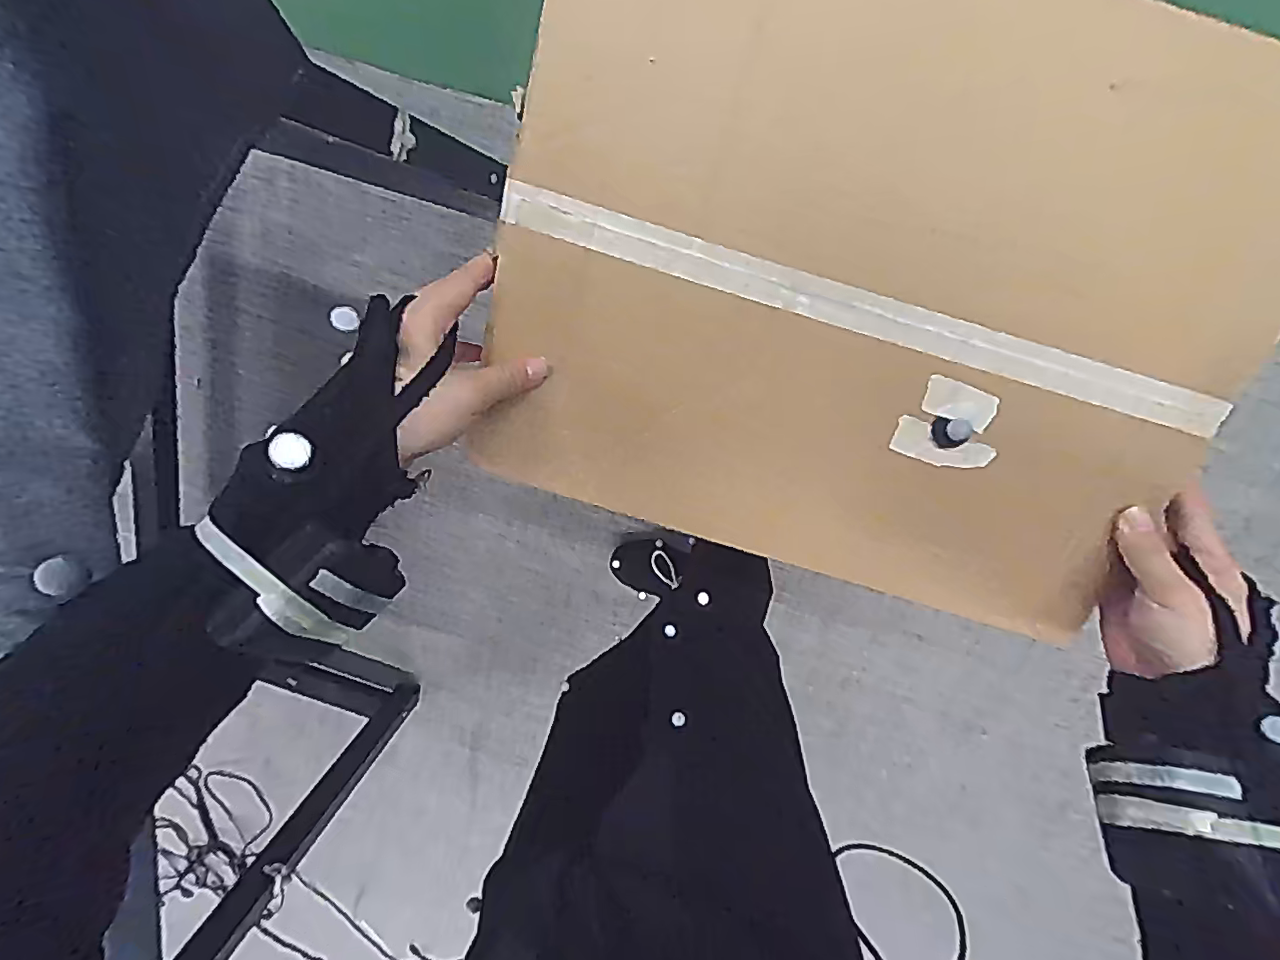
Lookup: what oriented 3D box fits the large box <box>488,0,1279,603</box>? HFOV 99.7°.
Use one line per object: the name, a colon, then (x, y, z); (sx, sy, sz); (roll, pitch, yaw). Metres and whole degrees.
large box: (0.135, -0.152, 0.451); (0.408, 0.320, 0.320); (16, 110, -2)
